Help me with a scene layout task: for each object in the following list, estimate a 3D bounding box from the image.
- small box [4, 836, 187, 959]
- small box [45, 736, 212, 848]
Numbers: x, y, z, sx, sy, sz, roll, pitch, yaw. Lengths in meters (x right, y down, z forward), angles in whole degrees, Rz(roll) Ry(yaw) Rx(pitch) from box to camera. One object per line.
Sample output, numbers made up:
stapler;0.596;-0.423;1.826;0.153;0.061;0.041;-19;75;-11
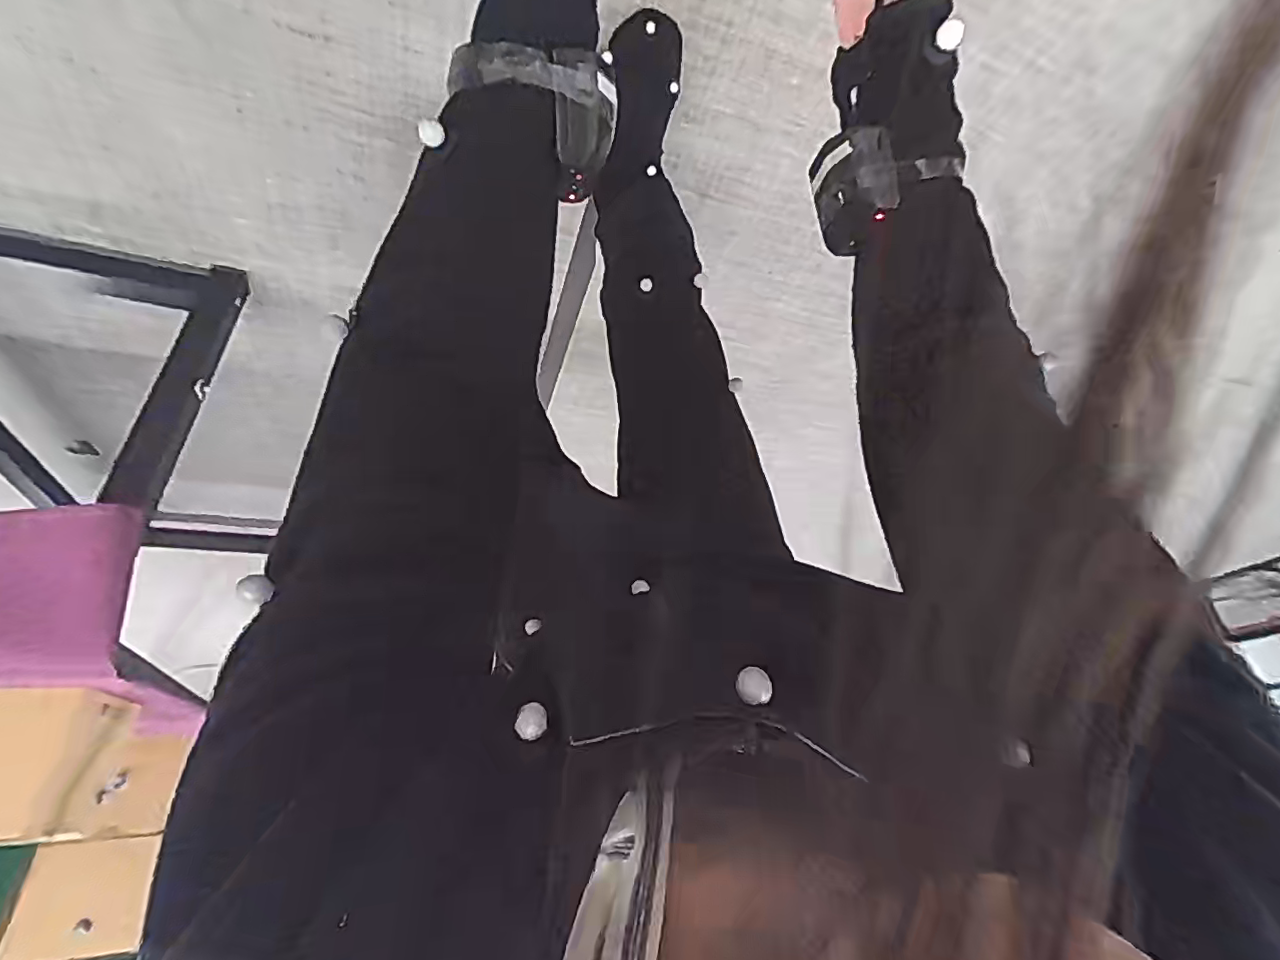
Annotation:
small box;-0.940;0.734;0.953;0.179;0.176;0.168;8;147;-21
small box;-0.961;0.593;1.037;0.168;0.176;0.179;7;147;-21
